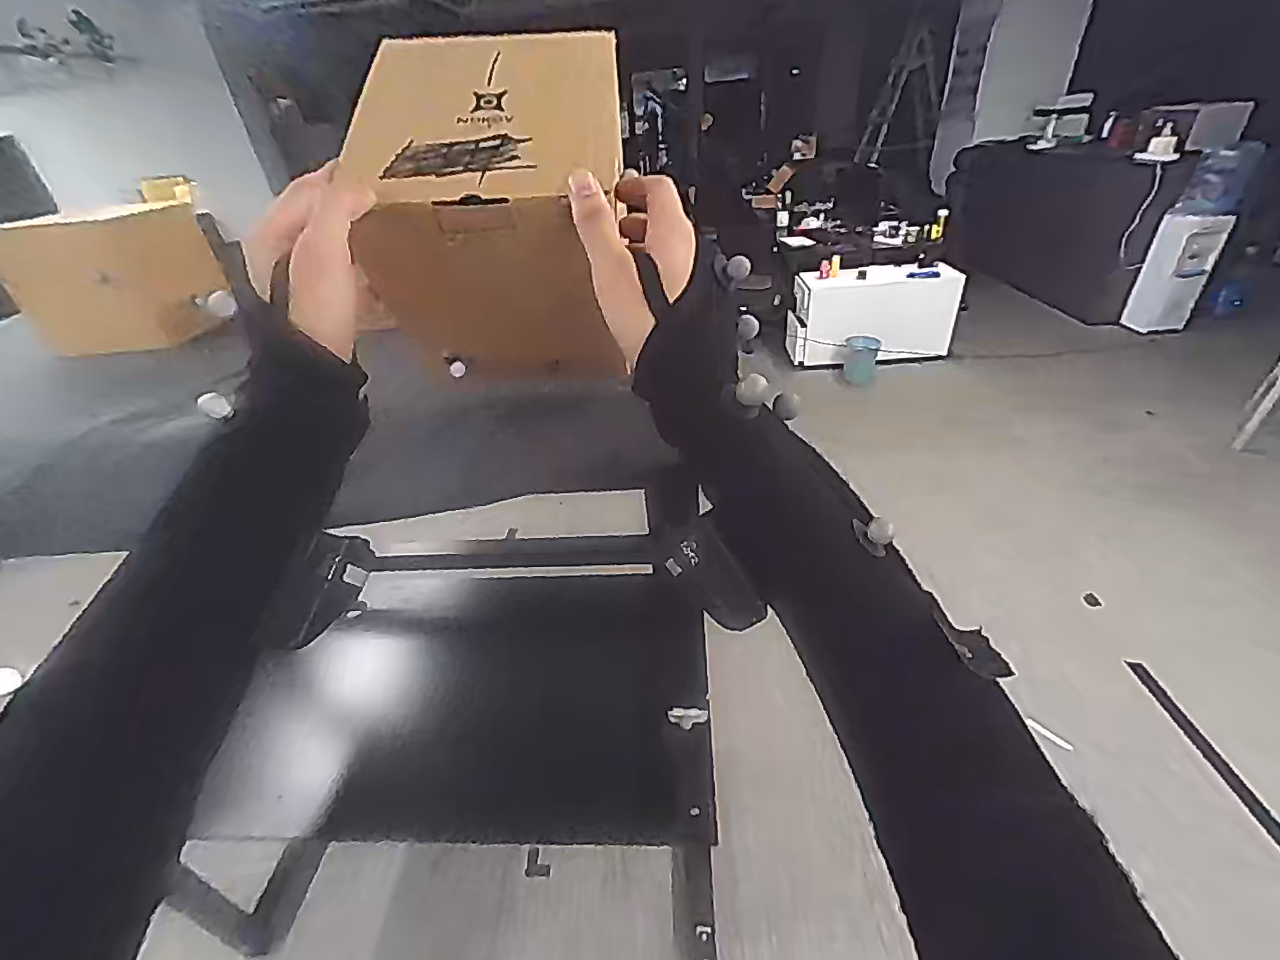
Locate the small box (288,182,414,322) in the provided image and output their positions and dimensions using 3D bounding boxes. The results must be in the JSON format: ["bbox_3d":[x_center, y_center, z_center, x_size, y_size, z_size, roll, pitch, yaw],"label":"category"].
[{"bbox_3d":[-0.348,-0.335,0.775,0.168,0.176,0.179,-3,34,4],"label":"small box"}]

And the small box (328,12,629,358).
[{"bbox_3d":[-0.094,-0.208,0.411,0.168,0.176,0.179,-1,63,1],"label":"small box"}]
